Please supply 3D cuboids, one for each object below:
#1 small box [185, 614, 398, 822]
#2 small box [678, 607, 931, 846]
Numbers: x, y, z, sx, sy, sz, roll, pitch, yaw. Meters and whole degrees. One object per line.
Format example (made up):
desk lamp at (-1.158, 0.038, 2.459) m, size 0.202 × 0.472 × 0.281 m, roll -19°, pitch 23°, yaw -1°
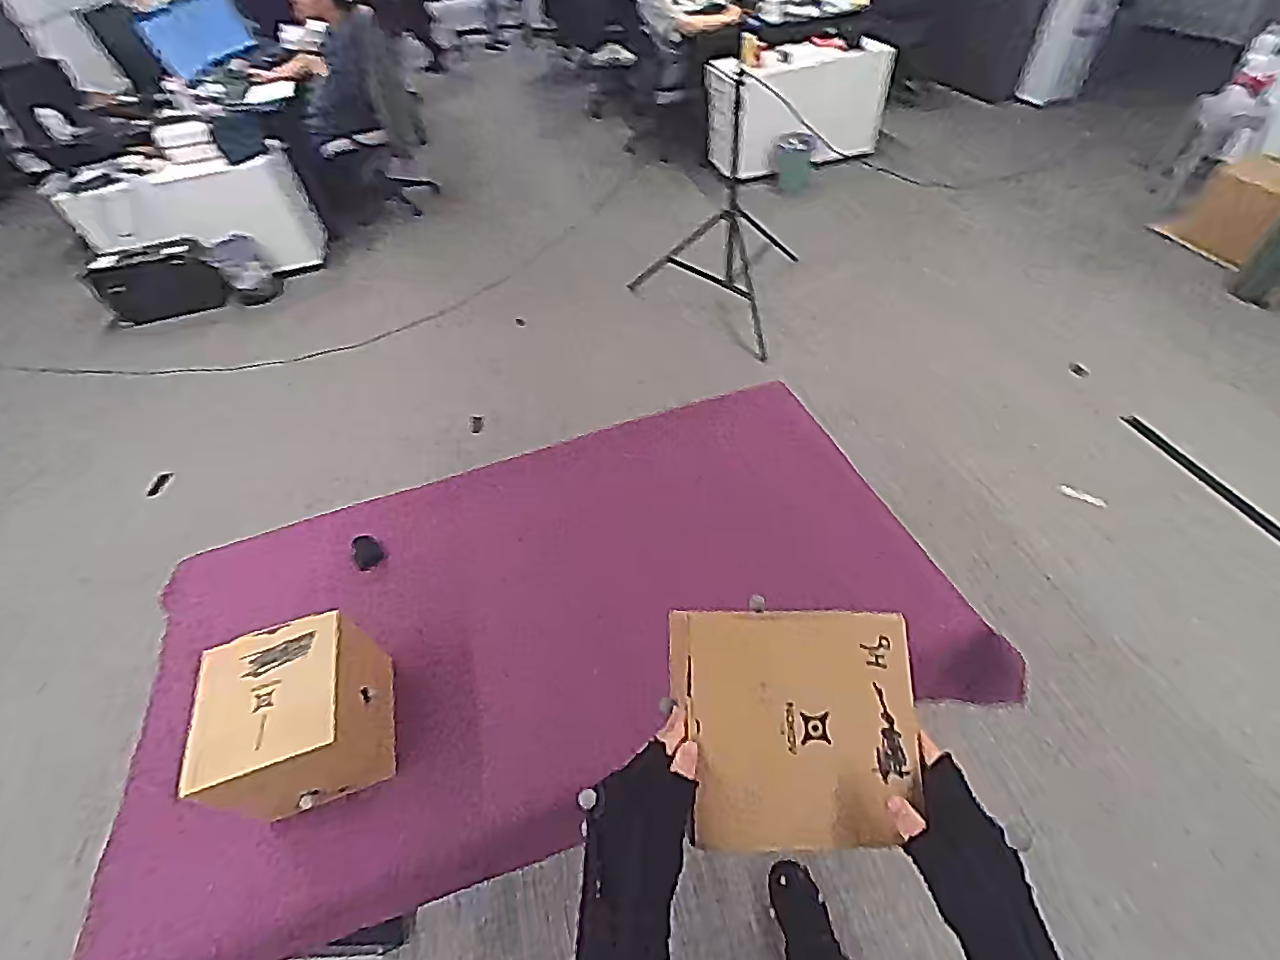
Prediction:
small box at (-0.432, 0.311, 0.706) m, size 0.168 × 0.176 × 0.179 m, roll -18°, pitch 51°, yaw -9°
small box at (0.124, 0.201, 0.484) m, size 0.179 × 0.176 × 0.168 m, roll 0°, pitch 76°, yaw 0°
